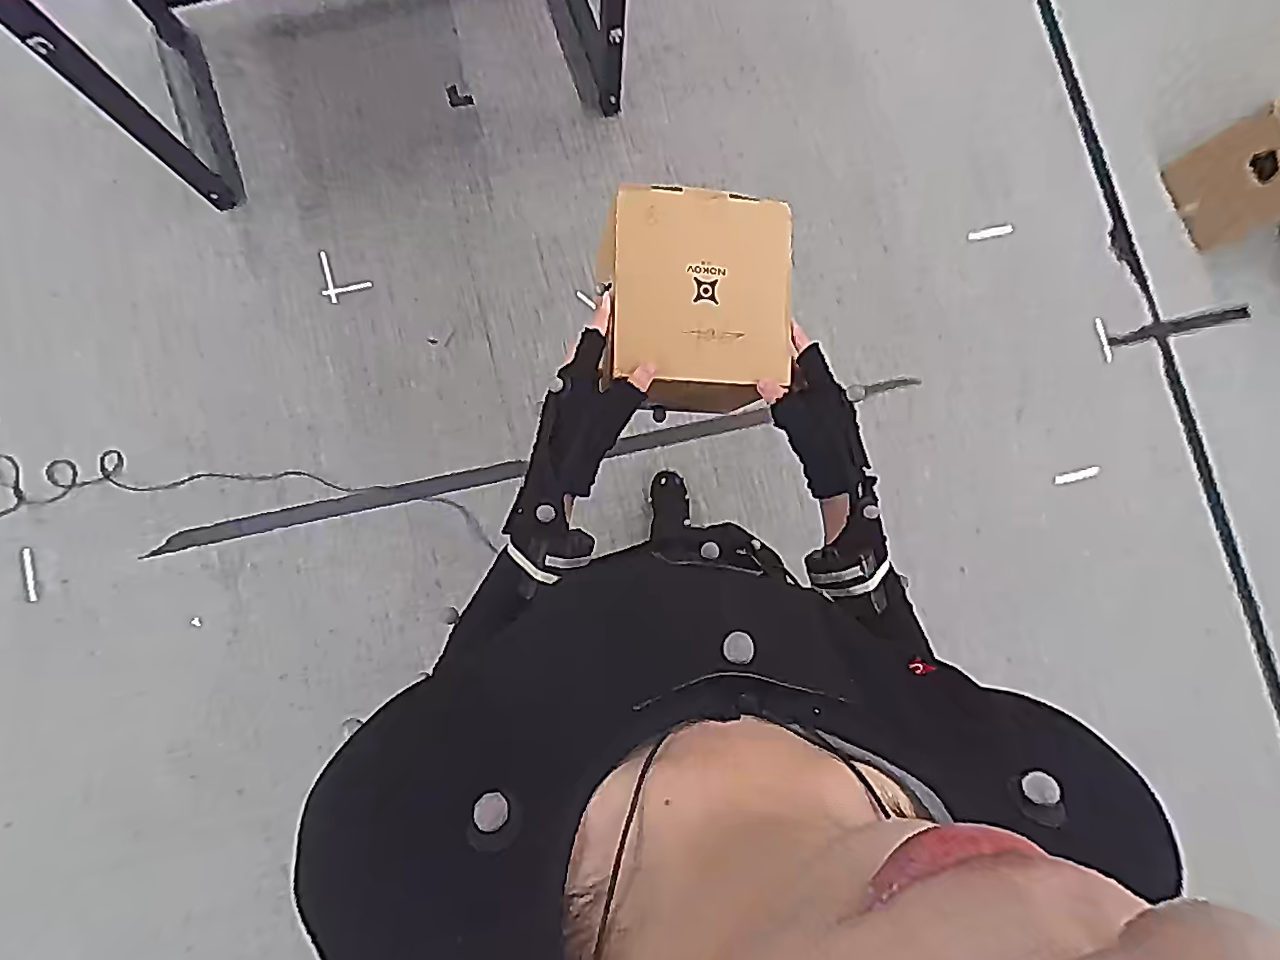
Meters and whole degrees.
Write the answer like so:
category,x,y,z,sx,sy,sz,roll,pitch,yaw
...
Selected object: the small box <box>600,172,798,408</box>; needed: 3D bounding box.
category,x,y,z,sx,sy,sz,roll,pitch,yaw
small box,0.048,-0.177,0.557,0.168,0.176,0.179,0,88,-10
